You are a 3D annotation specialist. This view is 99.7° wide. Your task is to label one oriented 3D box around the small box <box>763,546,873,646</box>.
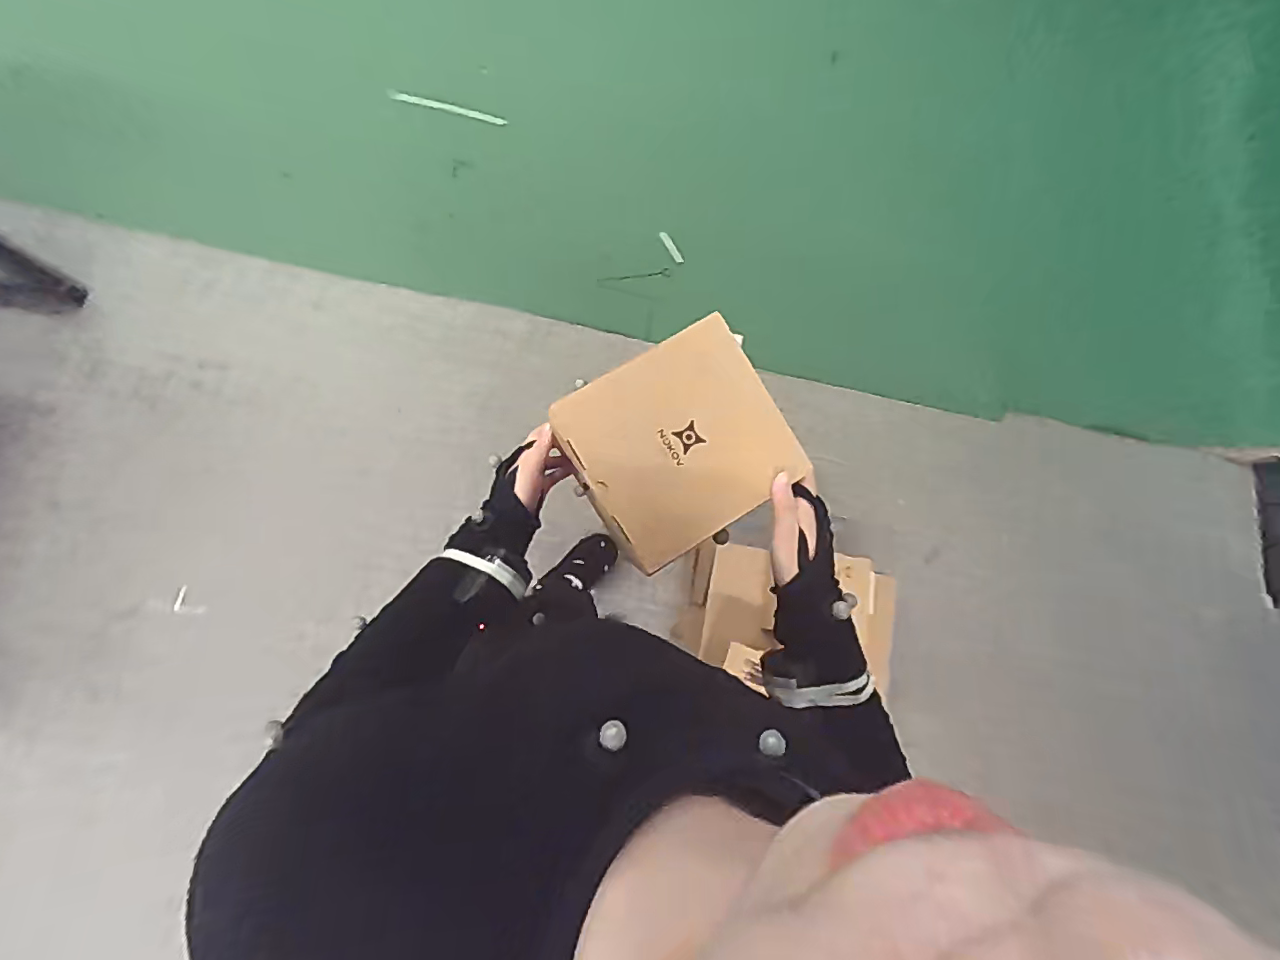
[{"bbox_3d":[0.377,0.249,1.168,0.168,0.176,0.179,11,77,-6],"label":"small box"}]
